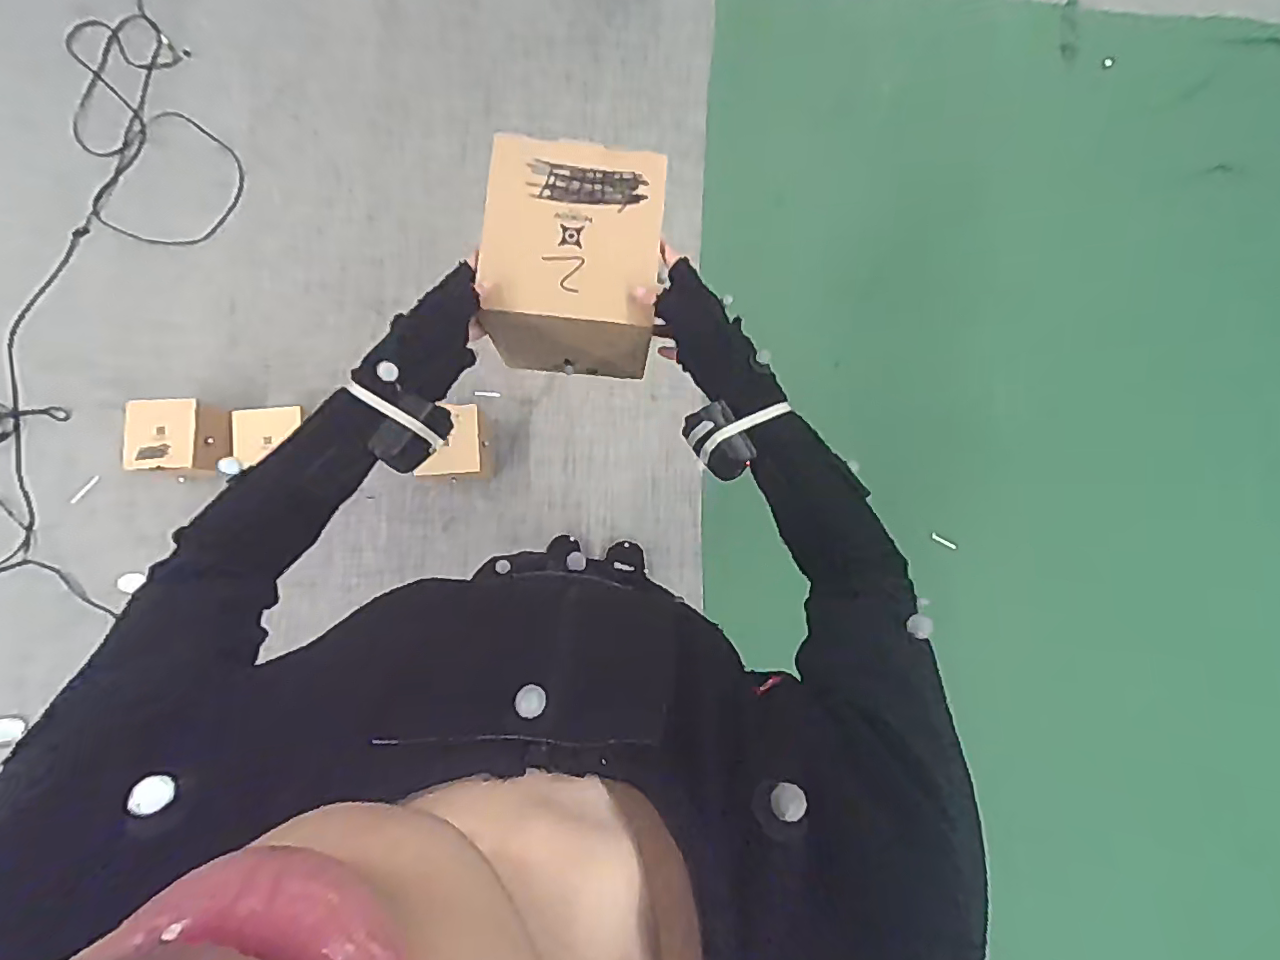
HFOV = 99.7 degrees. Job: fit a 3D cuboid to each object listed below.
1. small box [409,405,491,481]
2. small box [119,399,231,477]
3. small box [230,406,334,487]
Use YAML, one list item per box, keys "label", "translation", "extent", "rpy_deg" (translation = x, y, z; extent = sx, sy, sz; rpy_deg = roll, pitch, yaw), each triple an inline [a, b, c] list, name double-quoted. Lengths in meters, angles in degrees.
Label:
- label: "small box"
  translation: [-0.491, -0.090, 1.418]
  extent: [0.168, 0.176, 0.179]
  rpy_deg: [-4, 85, -5]
- label: "small box"
  translation: [-1.172, -0.101, 1.385]
  extent: [0.168, 0.176, 0.179]
  rpy_deg: [-2, 83, -3]
- label: "small box"
  translation: [-0.917, -0.082, 1.396]
  extent: [0.168, 0.176, 0.179]
  rpy_deg: [-5, 85, -3]
